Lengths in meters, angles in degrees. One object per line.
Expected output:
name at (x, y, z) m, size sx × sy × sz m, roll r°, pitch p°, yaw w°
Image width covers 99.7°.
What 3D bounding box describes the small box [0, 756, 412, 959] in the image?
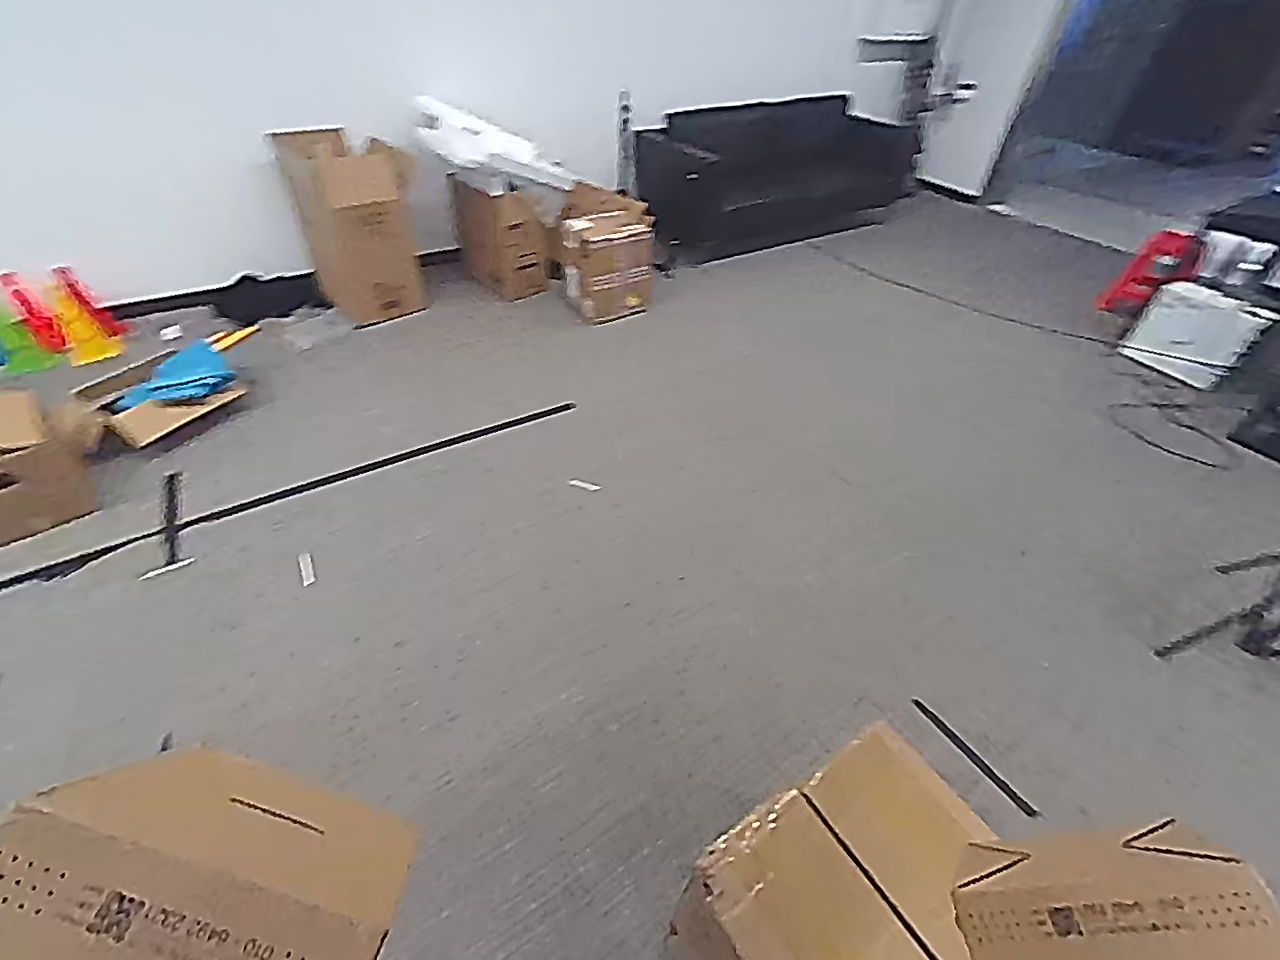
small box at (-0.242, 0.263, 0.279) m, size 0.168 × 0.179 × 0.176 m, roll 26°, pitch 67°, yaw -7°
